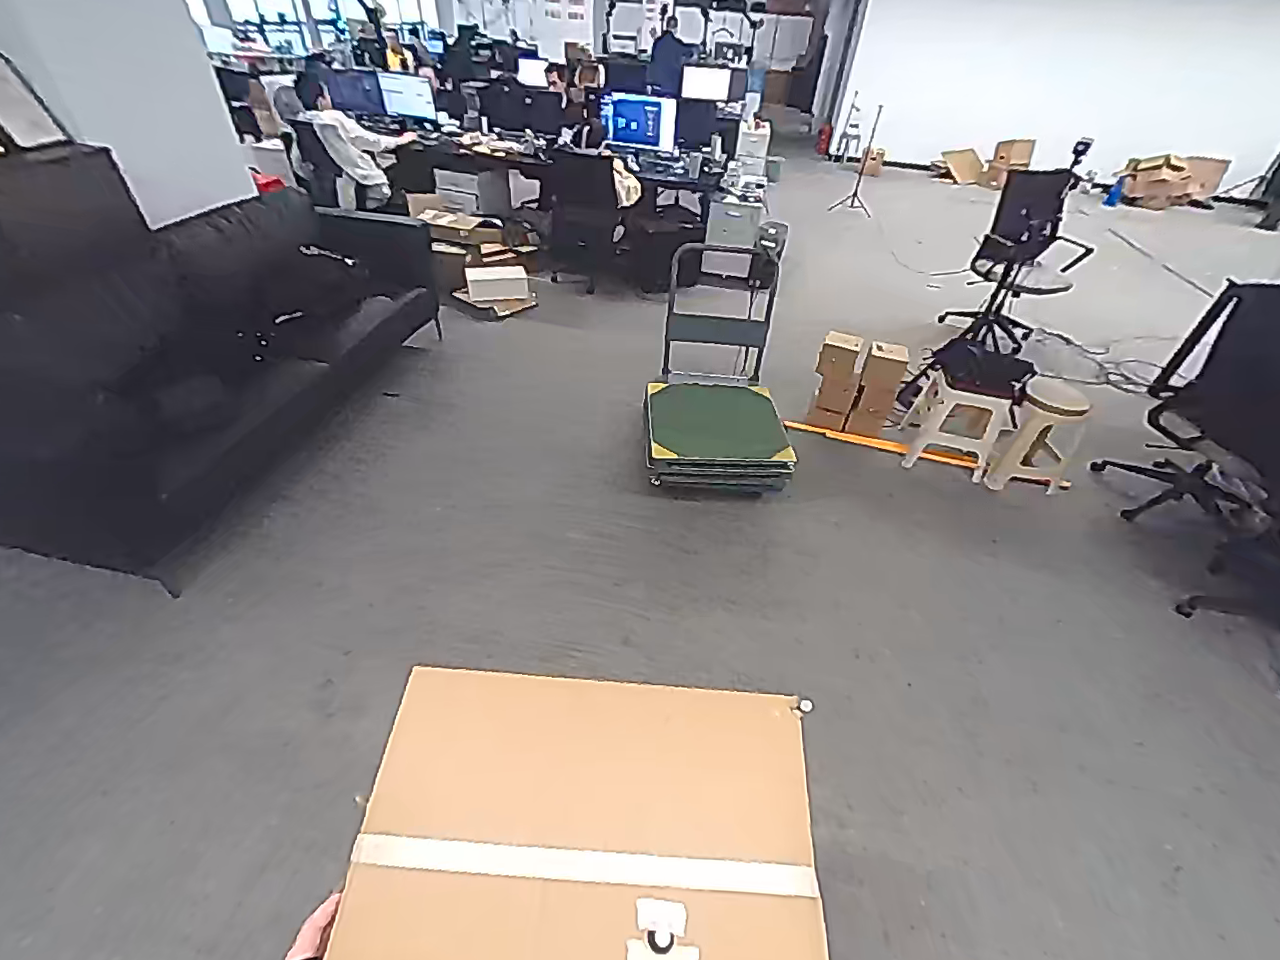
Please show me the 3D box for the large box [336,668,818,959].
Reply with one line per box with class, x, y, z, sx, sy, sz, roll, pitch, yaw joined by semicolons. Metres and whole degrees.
large box;-0.054;0.423;0.606;0.408;0.320;0.320;5;55;-1
